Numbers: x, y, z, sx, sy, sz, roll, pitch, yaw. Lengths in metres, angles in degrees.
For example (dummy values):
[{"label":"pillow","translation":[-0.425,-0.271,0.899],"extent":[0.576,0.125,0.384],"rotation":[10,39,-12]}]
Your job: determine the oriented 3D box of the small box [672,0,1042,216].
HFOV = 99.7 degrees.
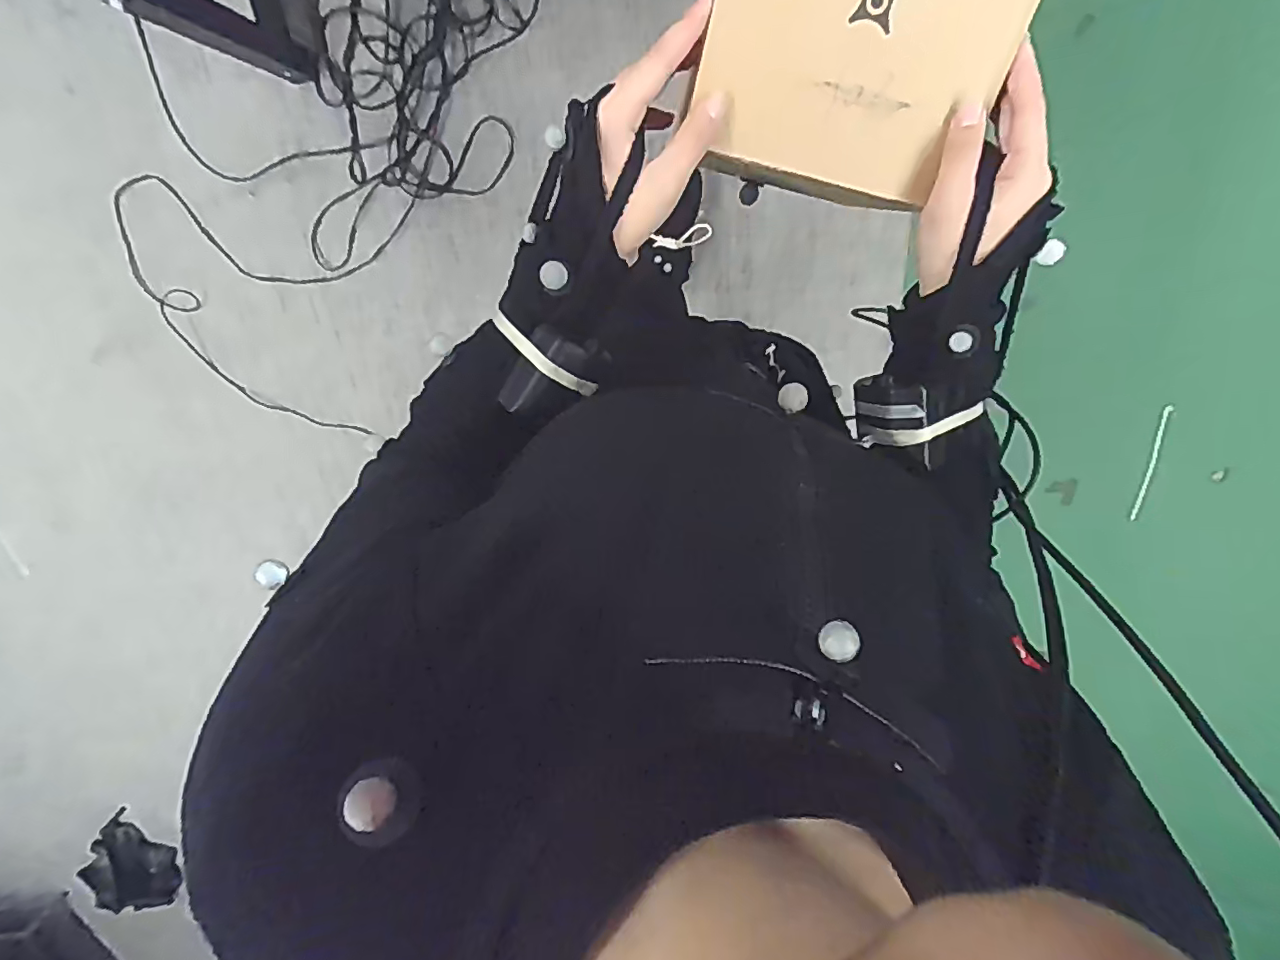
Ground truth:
[{"label":"small box","translation":[0.119,-0.283,0.341],"extent":[0.168,0.176,0.179],"rotation":[11,118,-6]}]
